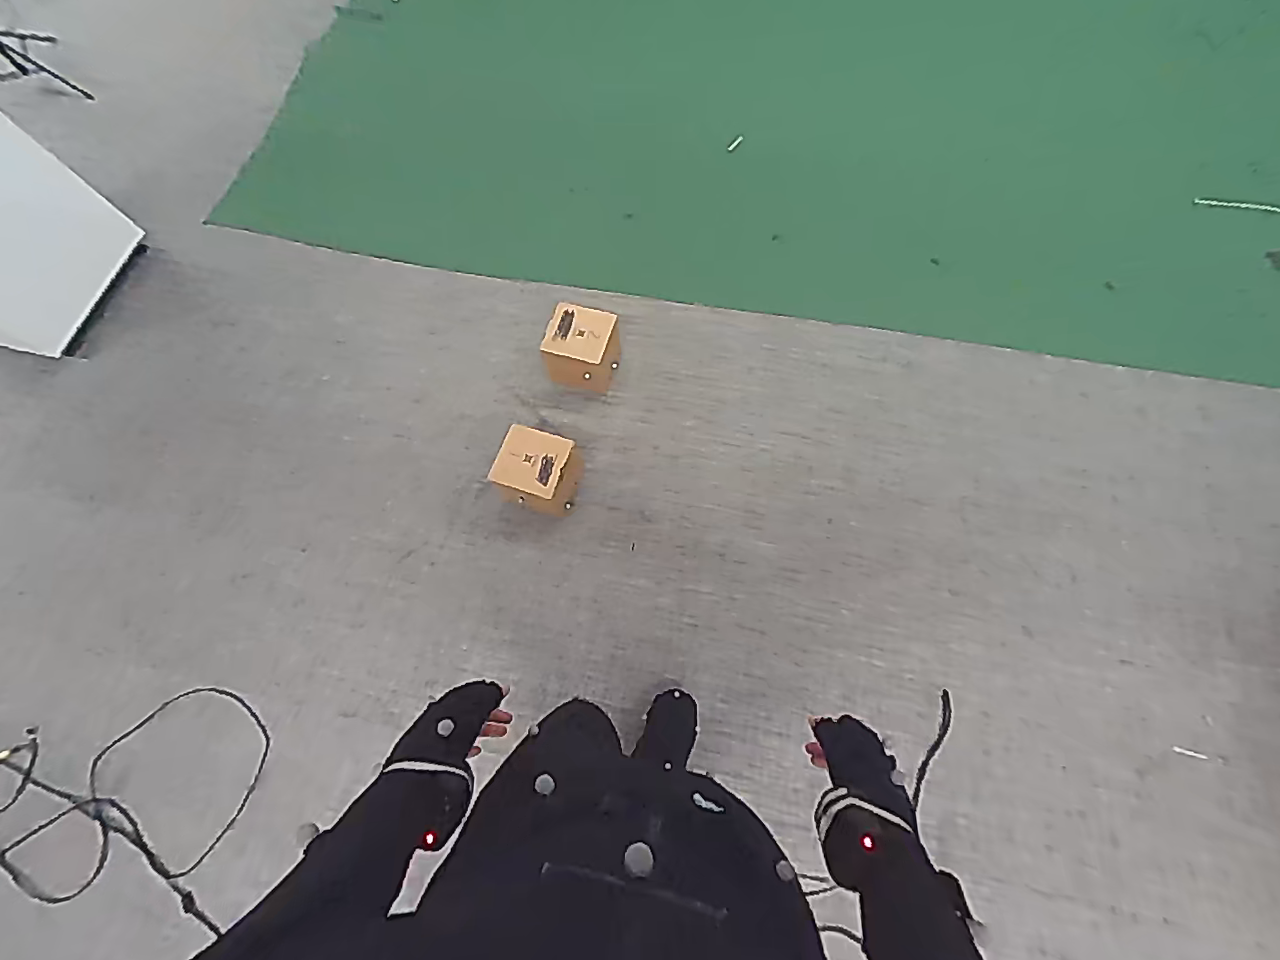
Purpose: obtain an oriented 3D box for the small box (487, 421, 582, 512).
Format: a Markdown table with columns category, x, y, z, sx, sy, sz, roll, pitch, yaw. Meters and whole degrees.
| category | x | y | z | sx | sy | sz | roll | pitch | yaw |
| --- | --- | --- | --- | --- | --- | --- | --- | --- | --- |
| small box | -0.265 | -0.027 | 1.419 | 0.179 | 0.176 | 0.168 | 17 | 71 | 10 |
